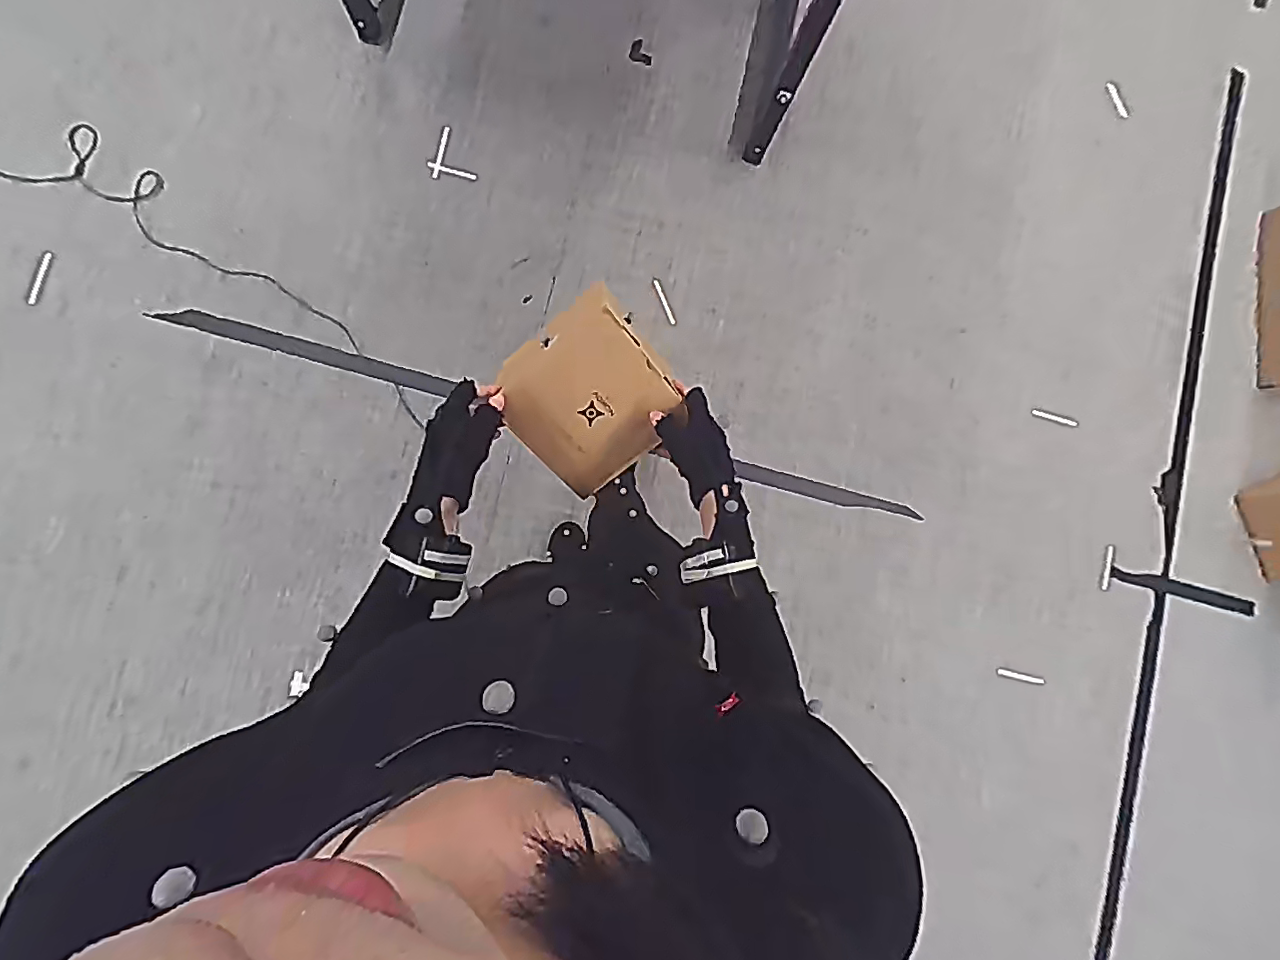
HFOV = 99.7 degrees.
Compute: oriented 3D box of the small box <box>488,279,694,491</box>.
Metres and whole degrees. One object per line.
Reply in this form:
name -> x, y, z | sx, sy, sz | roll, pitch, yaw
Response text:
small box -> -0.062, -0.125, 0.672 | 0.179, 0.176, 0.168 | -38, 115, 13
